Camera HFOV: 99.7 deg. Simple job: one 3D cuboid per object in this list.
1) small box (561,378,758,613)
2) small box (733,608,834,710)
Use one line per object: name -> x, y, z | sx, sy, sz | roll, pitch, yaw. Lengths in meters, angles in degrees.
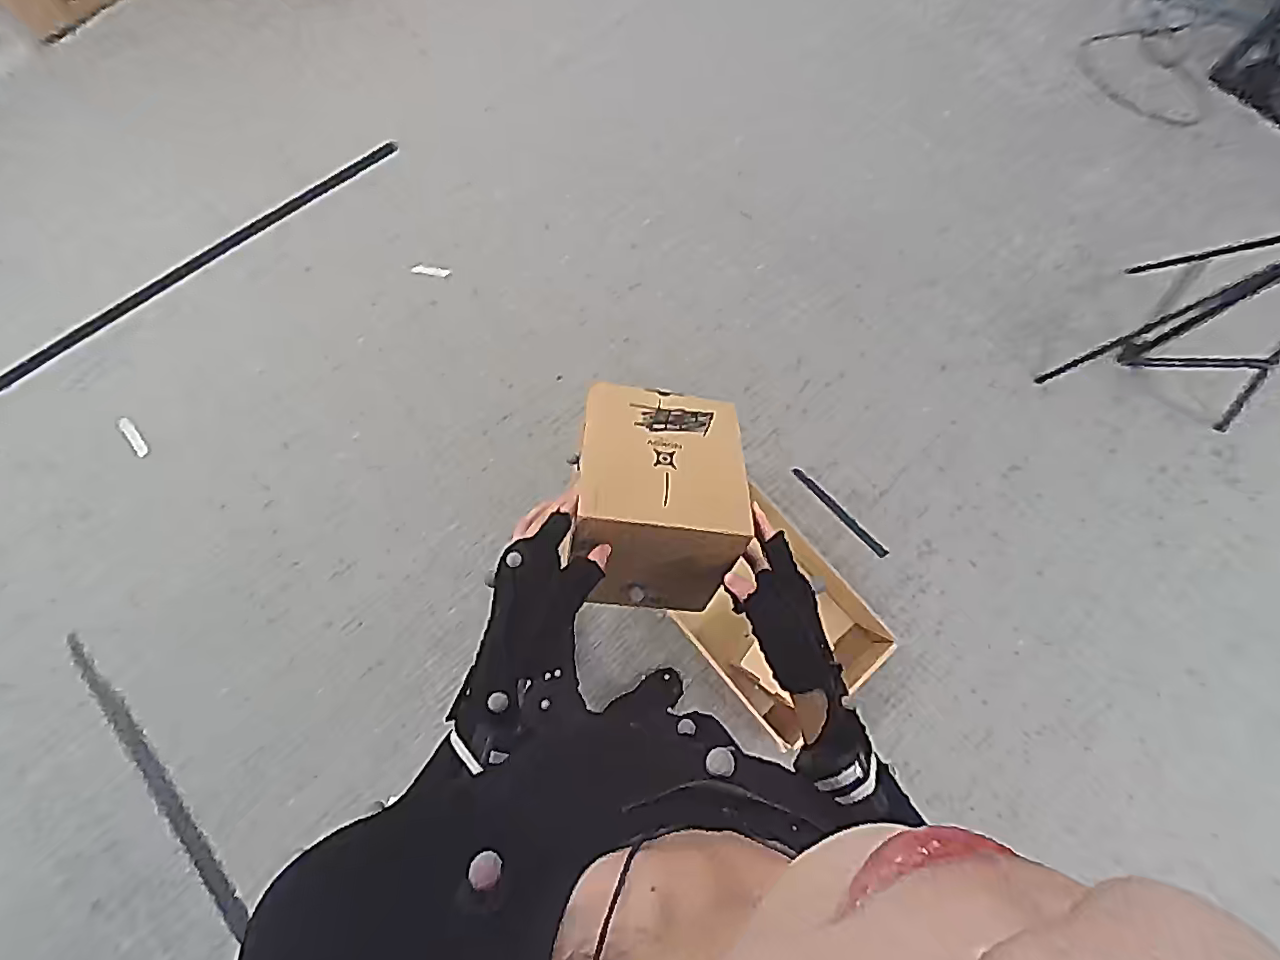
small box -> 0.008, 0.021, 0.580 | 0.168, 0.176, 0.179 | 7, 51, -10
small box -> 0.350, 0.446, 1.361 | 0.168, 0.176, 0.179 | 36, 76, 9
